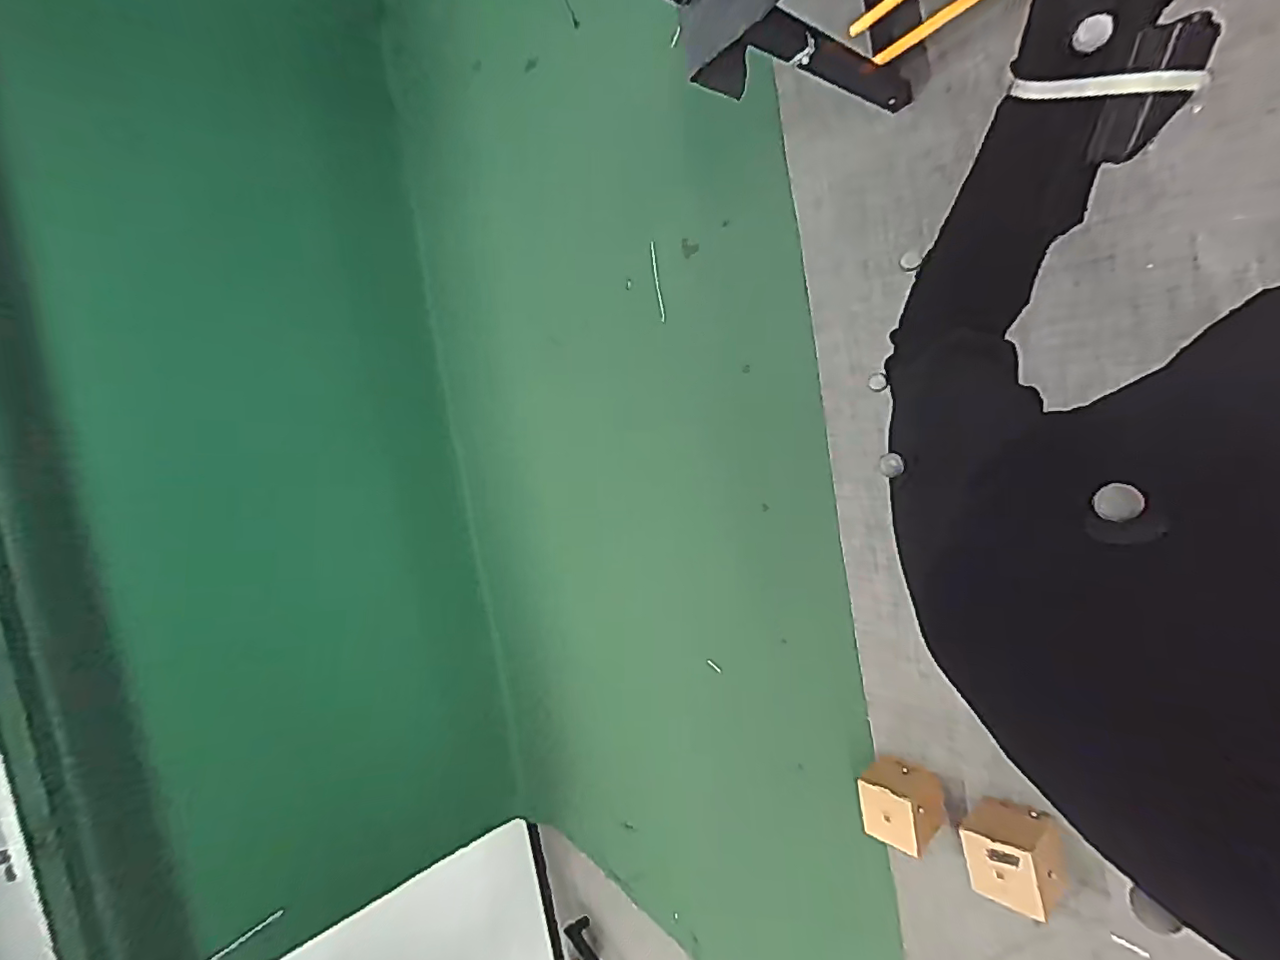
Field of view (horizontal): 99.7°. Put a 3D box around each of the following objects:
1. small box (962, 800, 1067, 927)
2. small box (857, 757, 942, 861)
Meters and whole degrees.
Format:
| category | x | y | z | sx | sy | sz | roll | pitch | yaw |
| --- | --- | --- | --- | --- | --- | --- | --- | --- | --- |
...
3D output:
| category | x | y | z | sx | sy | sz | roll | pitch | yaw |
| --- | --- | --- | --- | --- | --- | --- | --- | --- | --- |
| small box | 0.957 | 0.964 | 1.382 | 0.168 | 0.176 | 0.179 | -11 | 91 | 53 |
| small box | 0.779 | 0.971 | 1.614 | 0.168 | 0.176 | 0.179 | -5 | 95 | 52 |
